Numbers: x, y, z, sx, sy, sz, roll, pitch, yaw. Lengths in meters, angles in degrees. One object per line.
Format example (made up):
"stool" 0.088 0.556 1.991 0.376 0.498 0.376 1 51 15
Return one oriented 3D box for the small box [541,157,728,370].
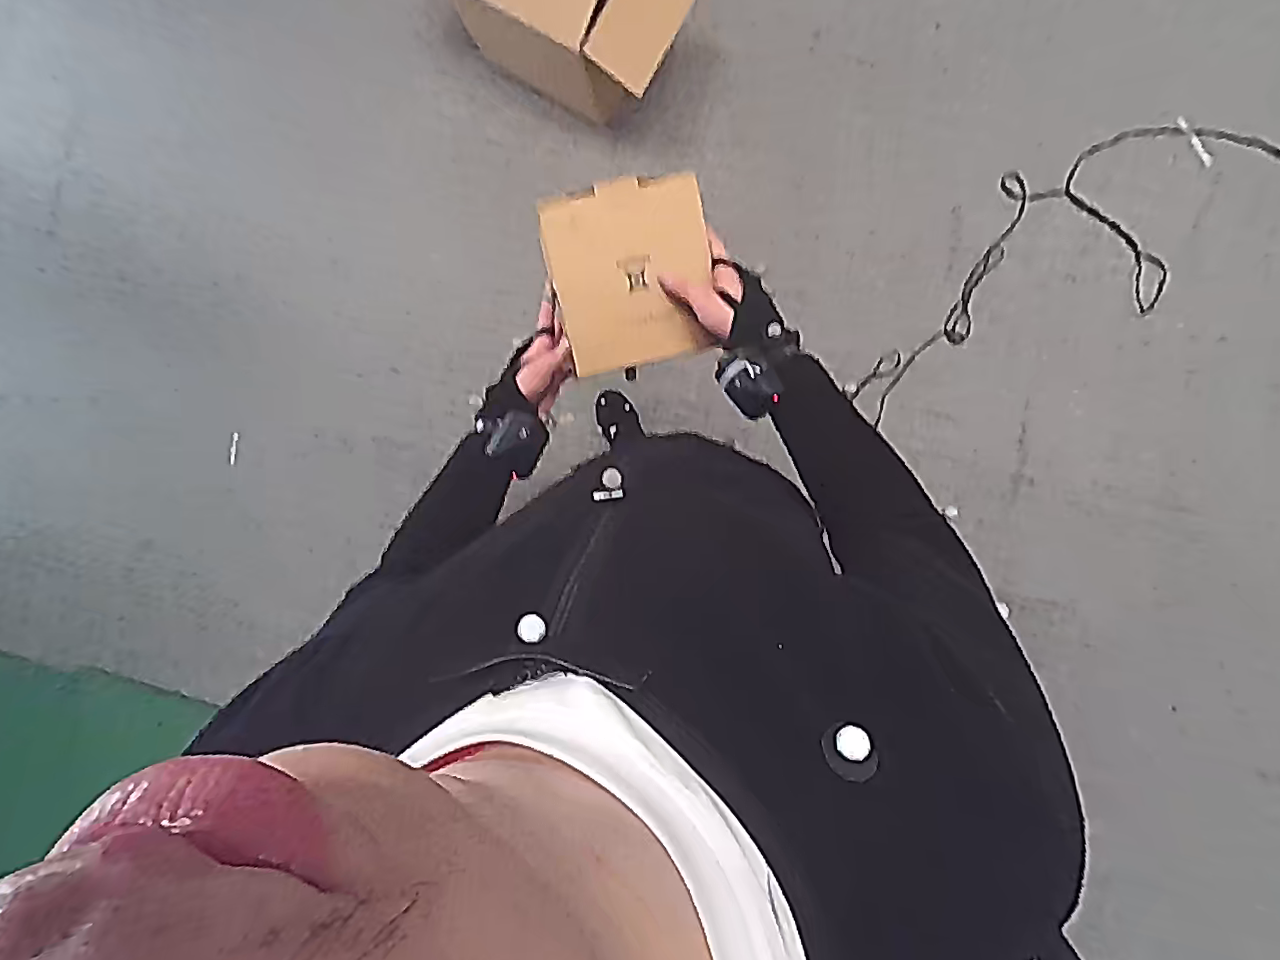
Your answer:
"small box" -0.012 -0.227 0.609 0.168 0.176 0.179 -11 100 -4
